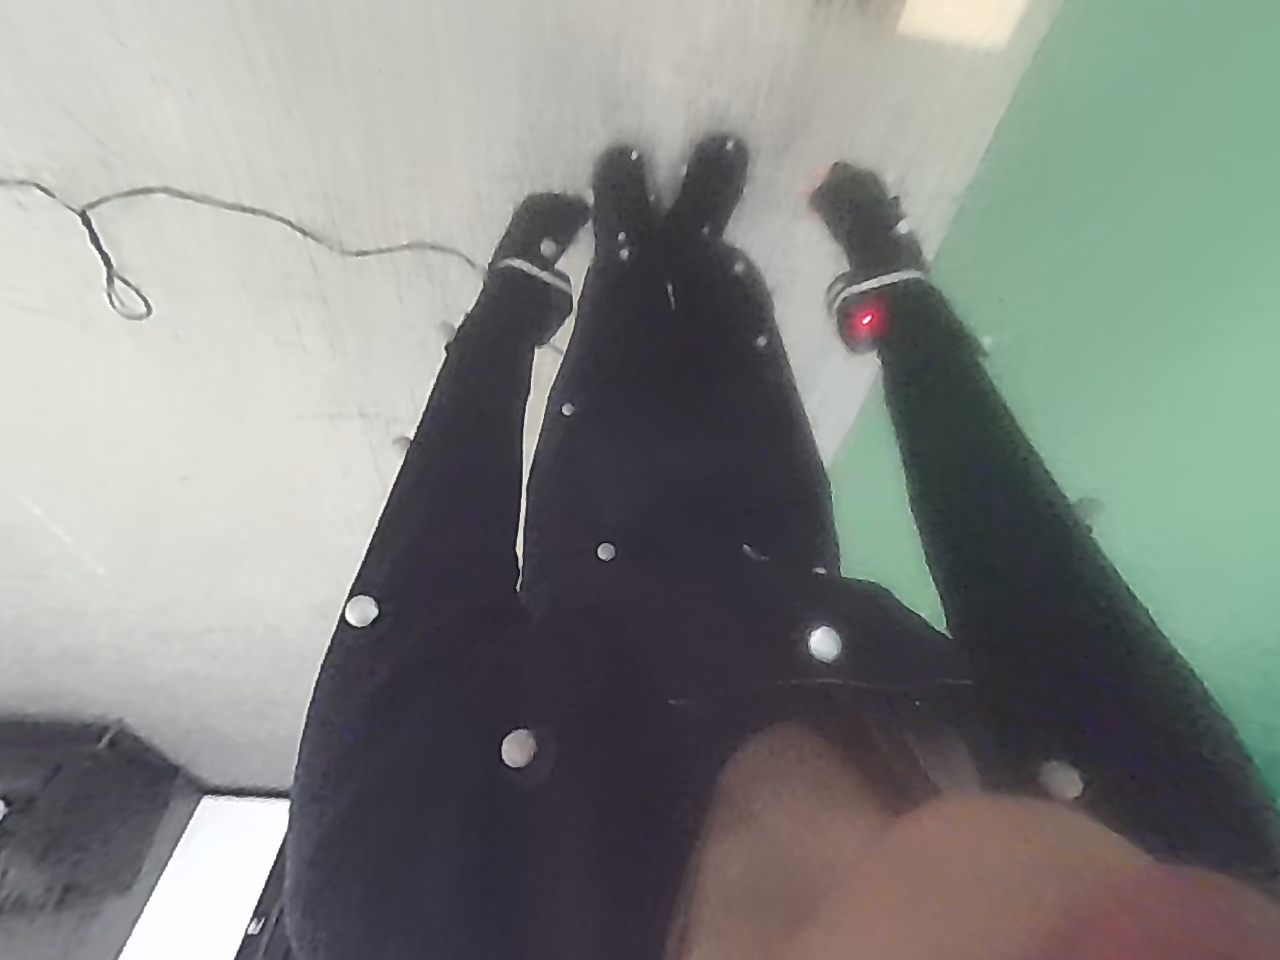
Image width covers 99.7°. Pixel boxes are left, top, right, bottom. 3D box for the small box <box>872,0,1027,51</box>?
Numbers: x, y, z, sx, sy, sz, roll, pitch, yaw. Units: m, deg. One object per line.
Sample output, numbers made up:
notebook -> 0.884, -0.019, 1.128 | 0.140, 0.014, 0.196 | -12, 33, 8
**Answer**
small box -> 0.454, -0.742, 0.766 | 0.168, 0.176, 0.179 | 5, 135, -5
